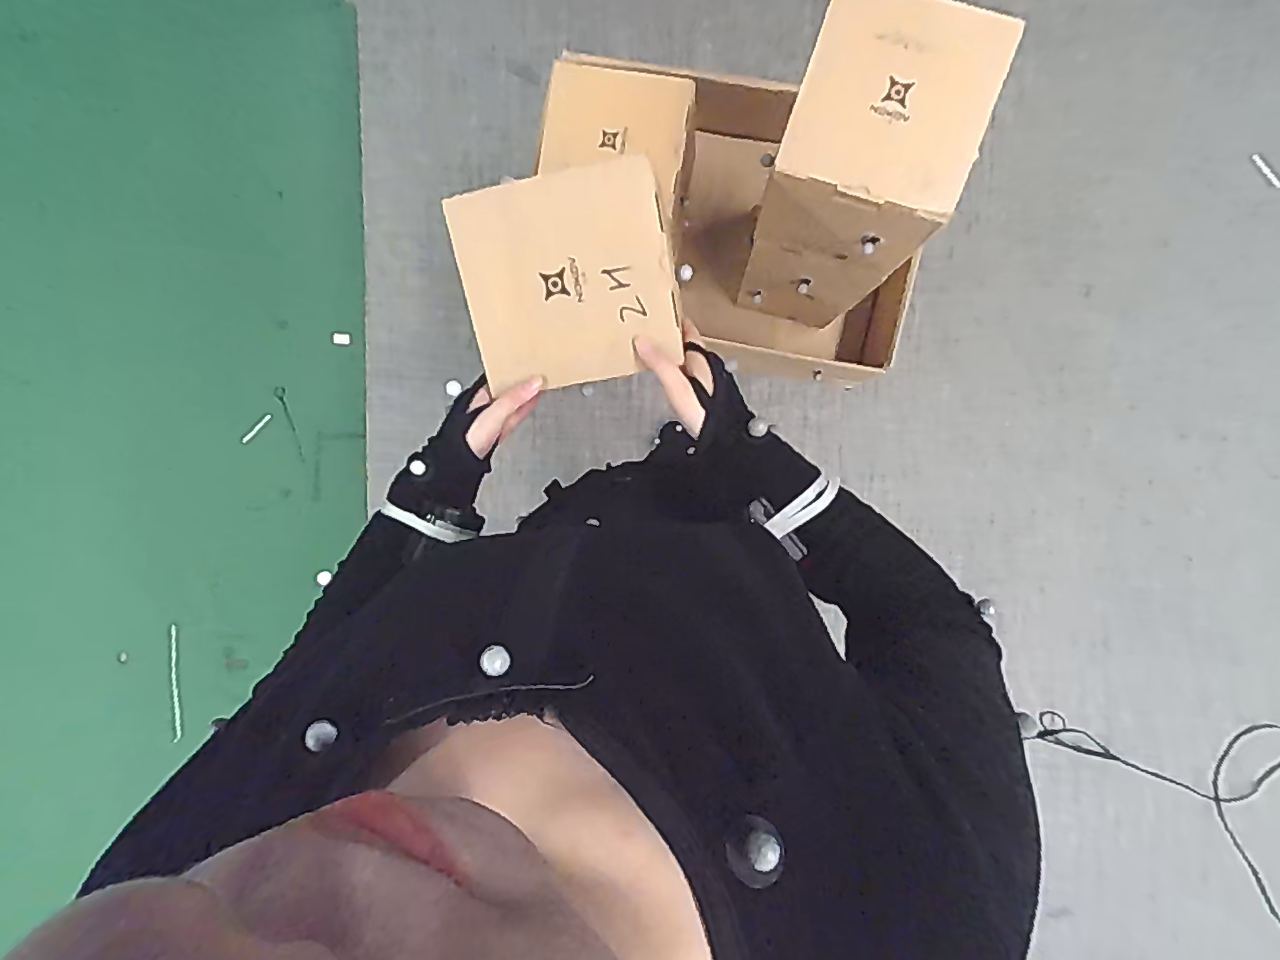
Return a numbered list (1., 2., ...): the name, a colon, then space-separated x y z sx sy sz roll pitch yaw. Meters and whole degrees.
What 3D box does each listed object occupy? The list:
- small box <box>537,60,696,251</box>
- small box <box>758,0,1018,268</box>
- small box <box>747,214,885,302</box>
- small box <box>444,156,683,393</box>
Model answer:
1. small box: -0.025 -0.427 0.744 0.179 0.176 0.168 11 95 4
2. small box: 0.229 -0.344 0.555 0.168 0.176 0.179 20 95 4
3. small box: 0.247 -0.355 0.718 0.168 0.176 0.179 19 96 4
4. small box: -0.057 -0.186 0.528 0.179 0.176 0.168 -8 105 8
